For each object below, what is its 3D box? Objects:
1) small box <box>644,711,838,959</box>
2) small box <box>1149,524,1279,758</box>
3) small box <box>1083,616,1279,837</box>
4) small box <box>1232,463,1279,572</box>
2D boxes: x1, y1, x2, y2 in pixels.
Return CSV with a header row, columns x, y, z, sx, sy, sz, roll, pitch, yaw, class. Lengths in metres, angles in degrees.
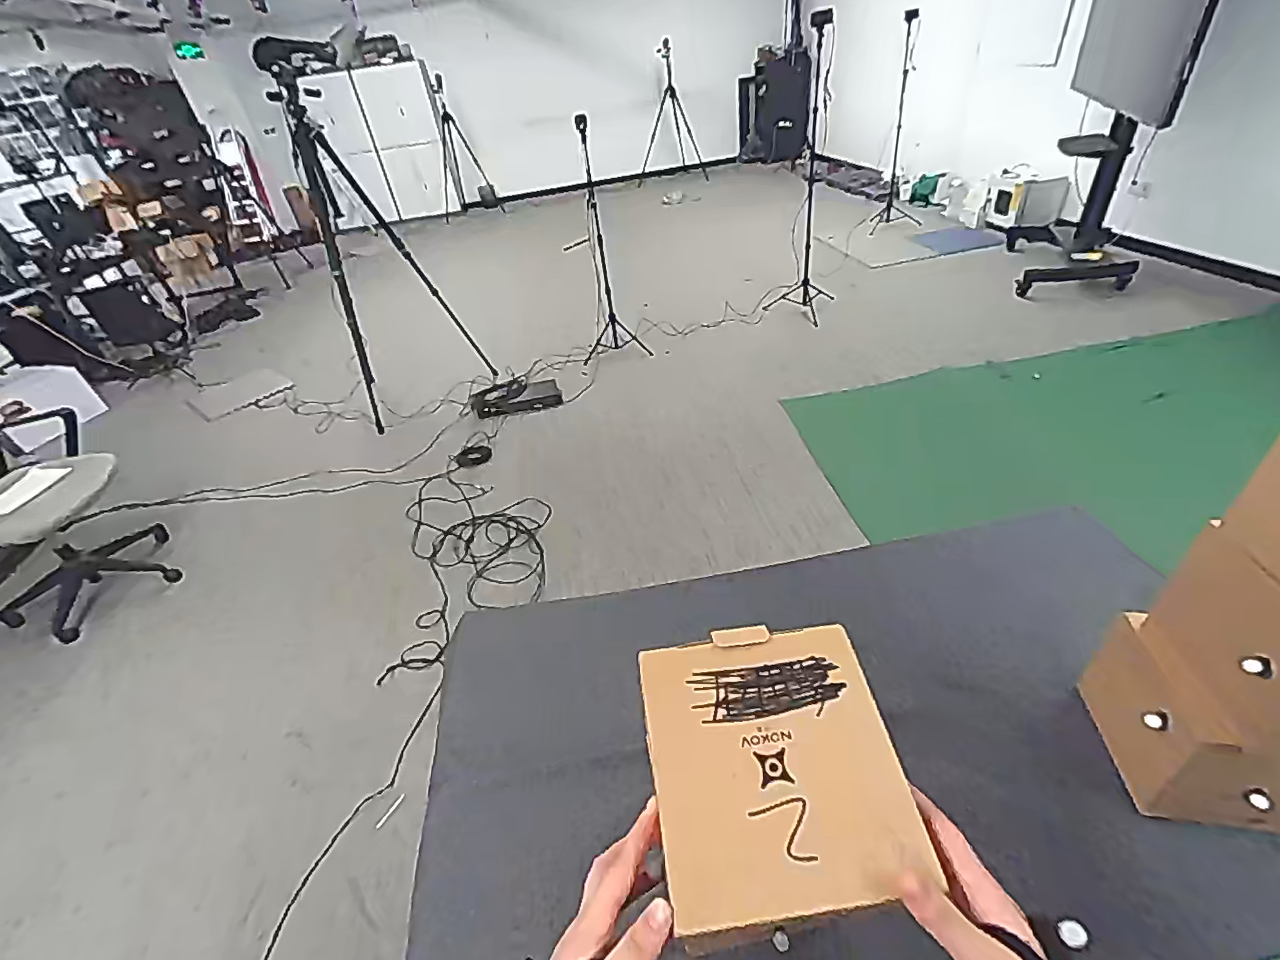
x,y,z,sx,sy,sz,roll,pitch,yaw,class
0.104,0.402,0.615,0.168,0.176,0.179,-11,36,-3,small box
0.673,0.161,0.532,0.168,0.176,0.179,-1,35,9,small box
0.674,0.287,0.635,0.168,0.176,0.179,1,36,13,small box
0.660,0.033,0.430,0.168,0.176,0.179,-5,37,4,small box
